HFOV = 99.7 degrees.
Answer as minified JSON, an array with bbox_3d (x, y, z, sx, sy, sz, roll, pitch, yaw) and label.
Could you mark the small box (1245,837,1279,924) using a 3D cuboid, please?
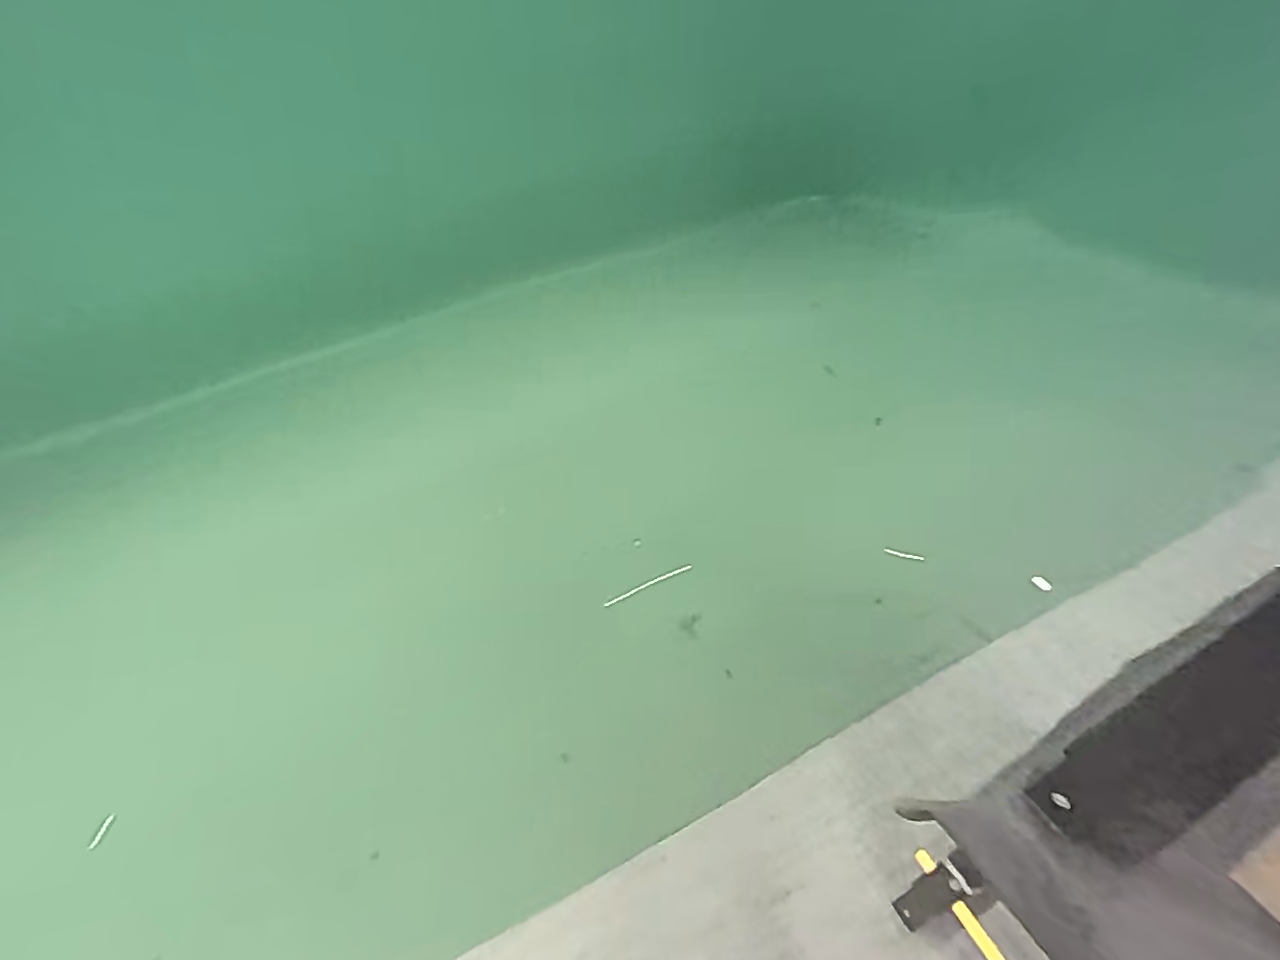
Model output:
[{"bbox_3d":[0.710,0.369,0.466,0.179,0.176,0.168,-23,45,-13],"label":"small box"}]
